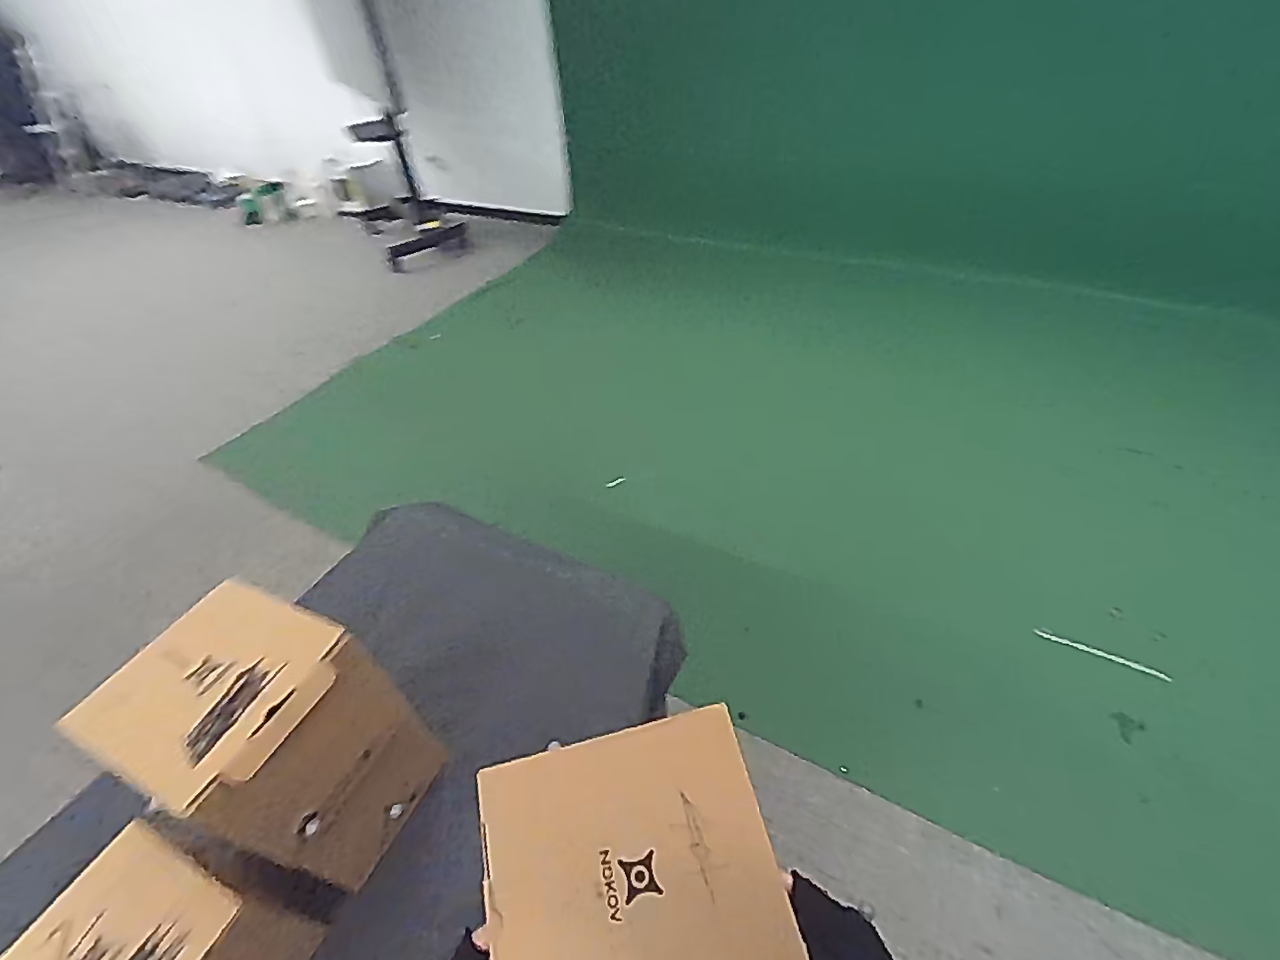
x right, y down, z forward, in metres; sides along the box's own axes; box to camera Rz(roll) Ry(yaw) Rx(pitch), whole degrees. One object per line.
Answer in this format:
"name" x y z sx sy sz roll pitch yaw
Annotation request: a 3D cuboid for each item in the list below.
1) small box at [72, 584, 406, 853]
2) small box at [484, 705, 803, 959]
"small box" -0.375 0.240 0.543 0.179 0.176 0.168 15 47 21
"small box" -0.001 0.286 0.399 0.179 0.176 0.168 -13 58 -6
